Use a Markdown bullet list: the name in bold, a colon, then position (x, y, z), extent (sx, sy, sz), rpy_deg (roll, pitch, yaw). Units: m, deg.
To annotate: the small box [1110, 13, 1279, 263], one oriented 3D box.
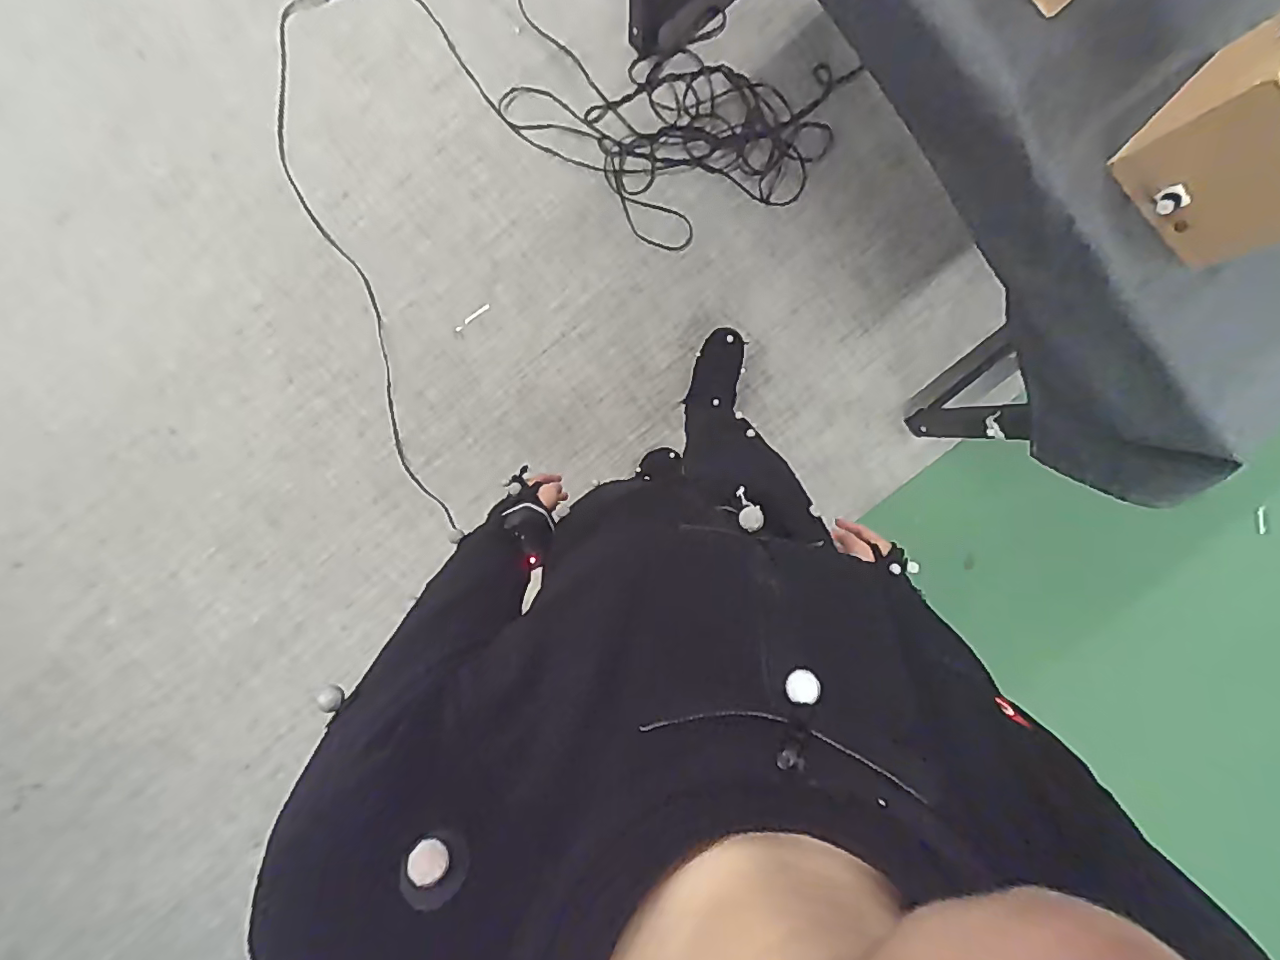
- **small box**: position (0.639, -0.353, 0.533), extent (0.168, 0.176, 0.179), rpy_deg (44, 93, -5)
